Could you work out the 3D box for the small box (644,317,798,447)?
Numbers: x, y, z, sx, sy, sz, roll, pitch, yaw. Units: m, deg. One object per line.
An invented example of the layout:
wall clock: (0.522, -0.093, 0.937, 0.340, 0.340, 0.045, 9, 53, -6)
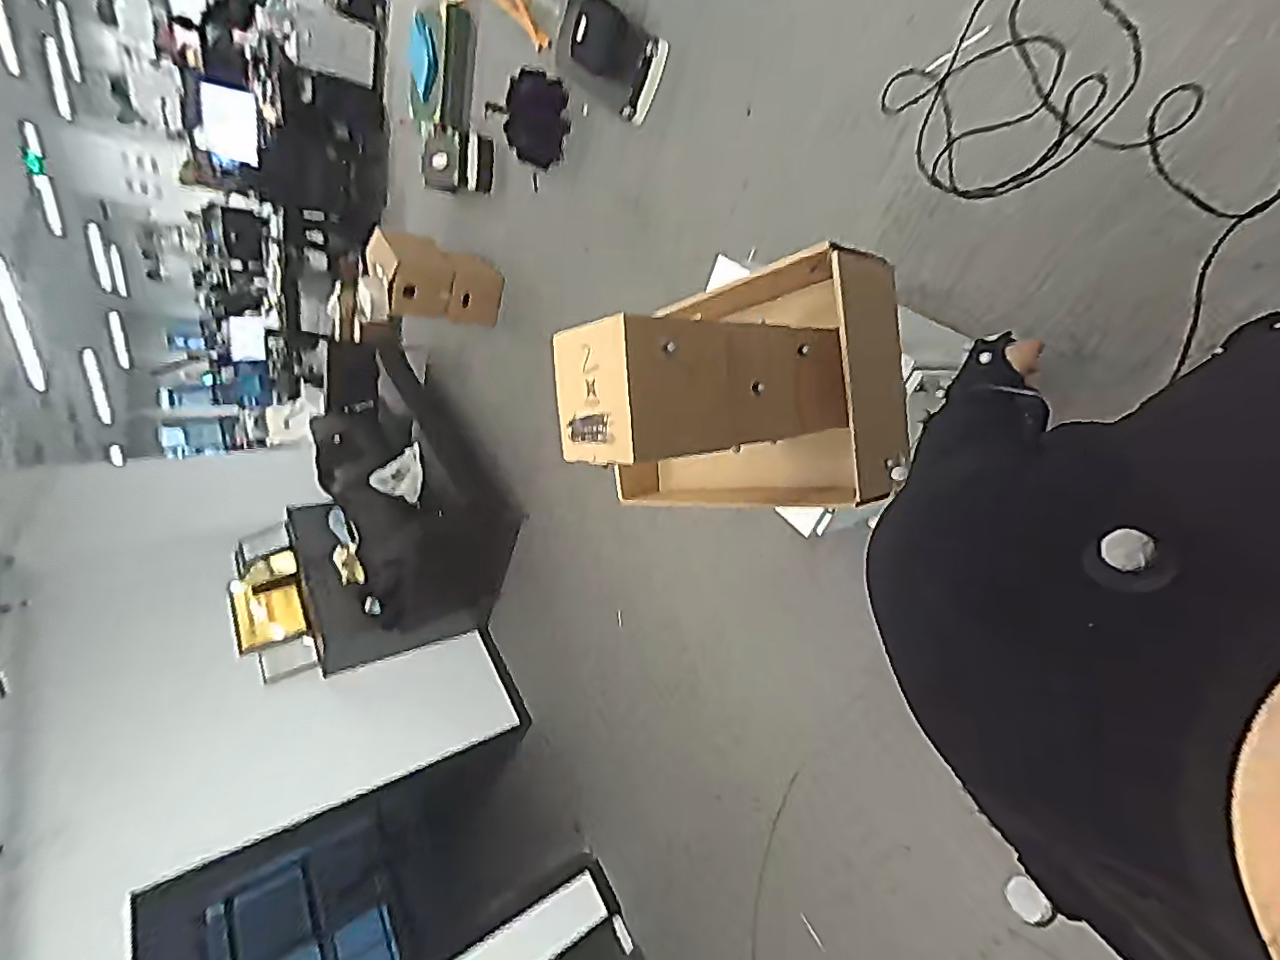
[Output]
small box: (0.129, -0.148, 0.853, 0.168, 0.176, 0.179, 1, 99, 53)
